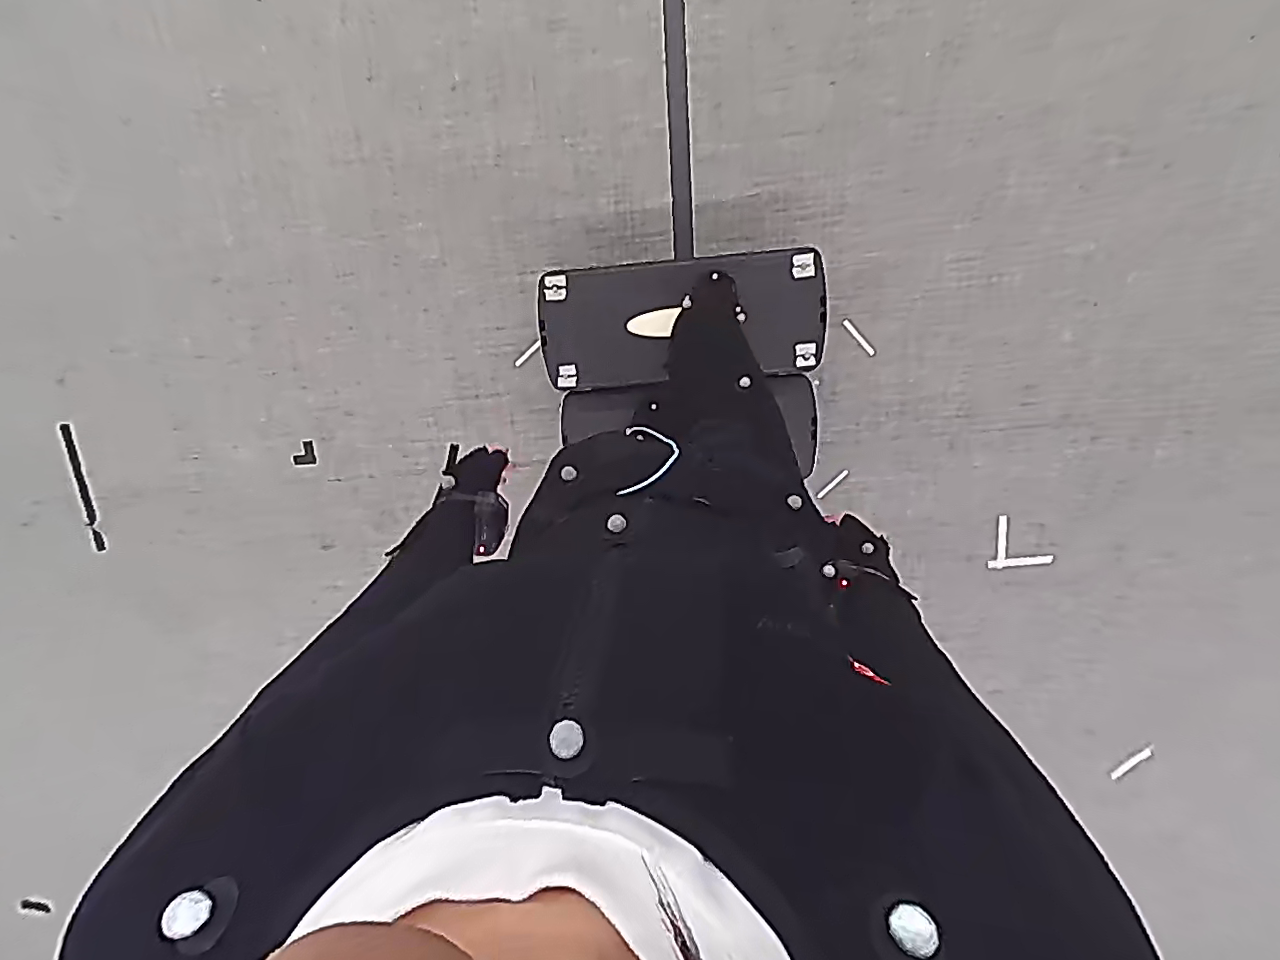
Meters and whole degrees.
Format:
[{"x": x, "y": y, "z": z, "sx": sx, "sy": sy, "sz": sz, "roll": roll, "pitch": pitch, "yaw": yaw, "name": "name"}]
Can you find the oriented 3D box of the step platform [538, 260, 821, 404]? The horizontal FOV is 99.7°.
[{"x": 0.092, "y": -0.361, "z": 1.345, "sx": 0.684, "sy": 0.204, "sz": 0.286, "roll": -5, "pitch": 105, "yaw": 4, "name": "step platform"}]
